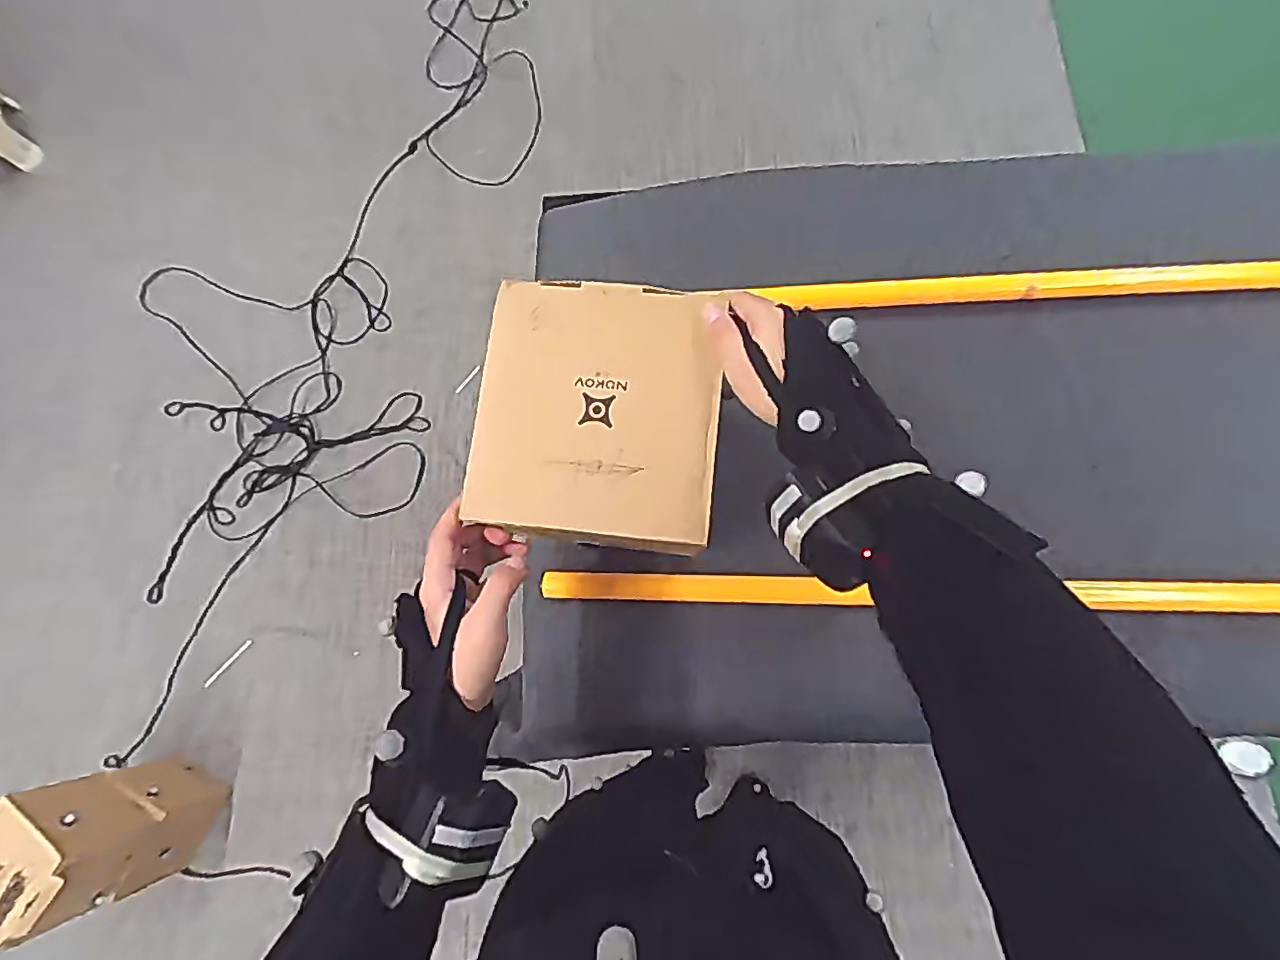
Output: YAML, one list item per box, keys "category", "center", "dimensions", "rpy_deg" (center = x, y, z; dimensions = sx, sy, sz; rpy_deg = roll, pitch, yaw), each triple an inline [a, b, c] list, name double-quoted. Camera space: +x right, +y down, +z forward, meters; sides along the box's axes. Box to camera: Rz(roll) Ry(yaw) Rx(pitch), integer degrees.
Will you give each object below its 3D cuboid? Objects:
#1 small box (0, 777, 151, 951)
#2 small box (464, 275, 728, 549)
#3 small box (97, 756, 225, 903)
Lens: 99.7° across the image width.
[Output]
- category: "small box"
  center: [-1.052, 0.667, 0.968]
  dimensions: [0.179, 0.176, 0.168]
  rpy_deg: [29, 79, 12]
- category: "small box"
  center: [-0.024, -0.041, 0.446]
  dimensions: [0.168, 0.176, 0.179]
  rpy_deg: [5, 81, 5]
- category: "small box"
  center: [-1.028, 0.712, 1.125]
  dimensions: [0.168, 0.176, 0.179]
  rpy_deg: [24, 78, 11]
